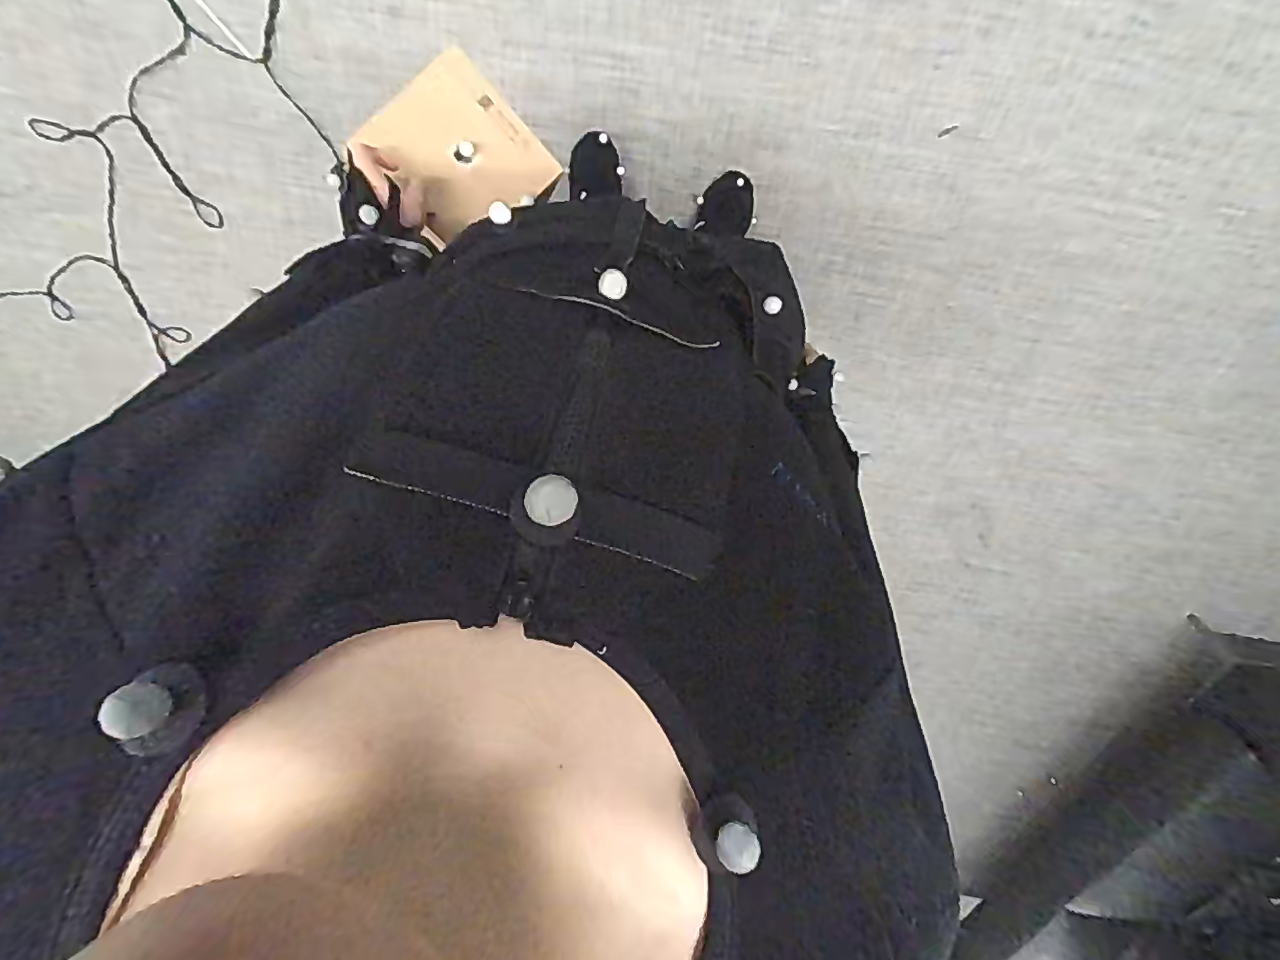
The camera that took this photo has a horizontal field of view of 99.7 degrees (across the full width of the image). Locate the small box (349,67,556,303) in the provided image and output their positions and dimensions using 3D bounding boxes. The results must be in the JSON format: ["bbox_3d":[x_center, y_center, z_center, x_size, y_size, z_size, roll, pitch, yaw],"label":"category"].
[{"bbox_3d":[-0.229,-0.359,0.683,0.168,0.179,0.176,42,81,-19],"label":"small box"}]
